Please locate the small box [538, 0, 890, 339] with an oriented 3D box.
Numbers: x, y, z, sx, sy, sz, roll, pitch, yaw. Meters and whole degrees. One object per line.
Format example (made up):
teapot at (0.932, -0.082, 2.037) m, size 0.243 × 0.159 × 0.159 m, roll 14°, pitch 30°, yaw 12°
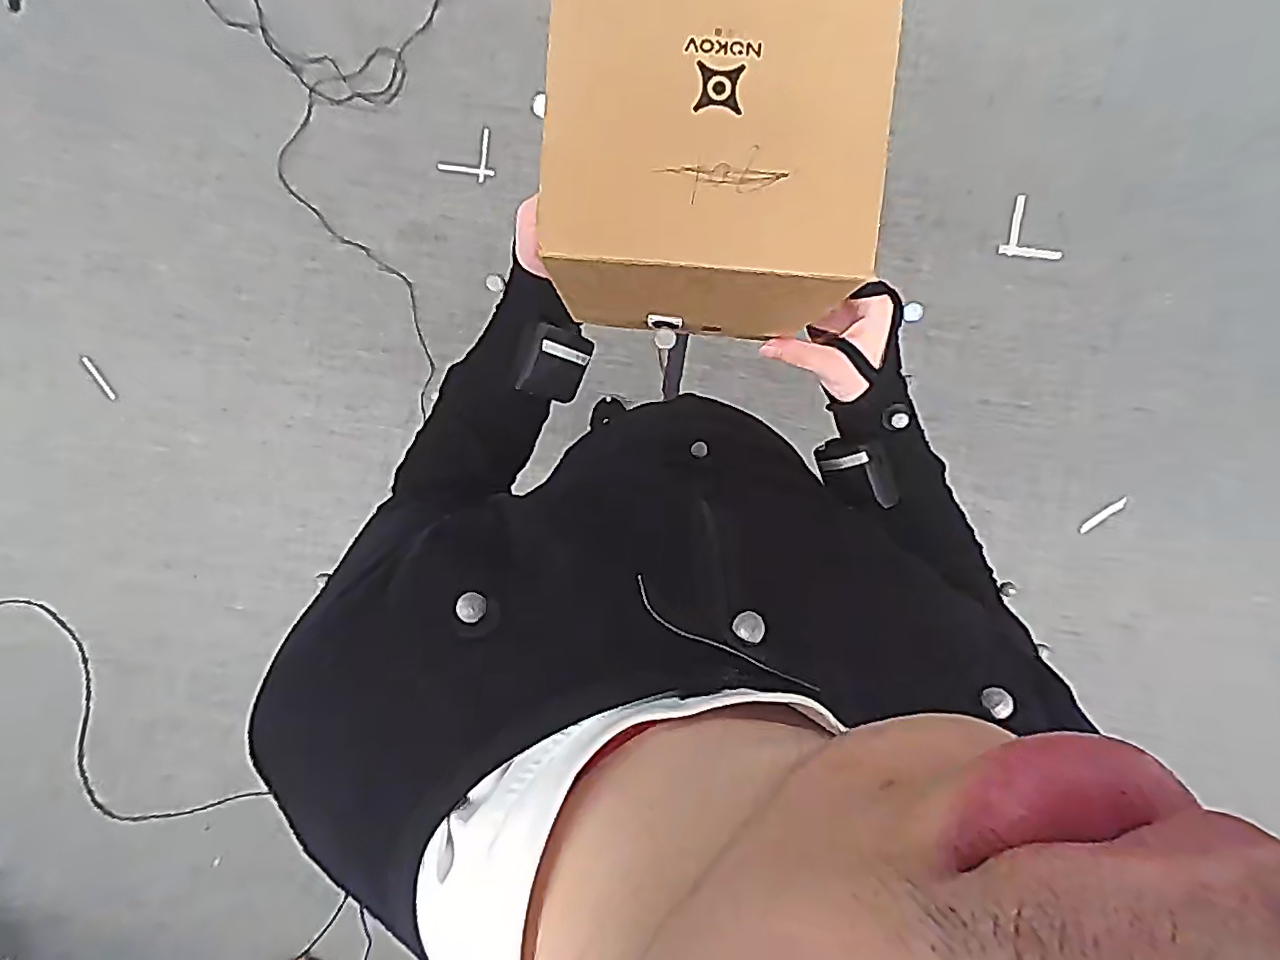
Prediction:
small box at (0.038, -0.200, 0.347) m, size 0.168 × 0.176 × 0.179 m, roll 5°, pitch 94°, yaw 1°
